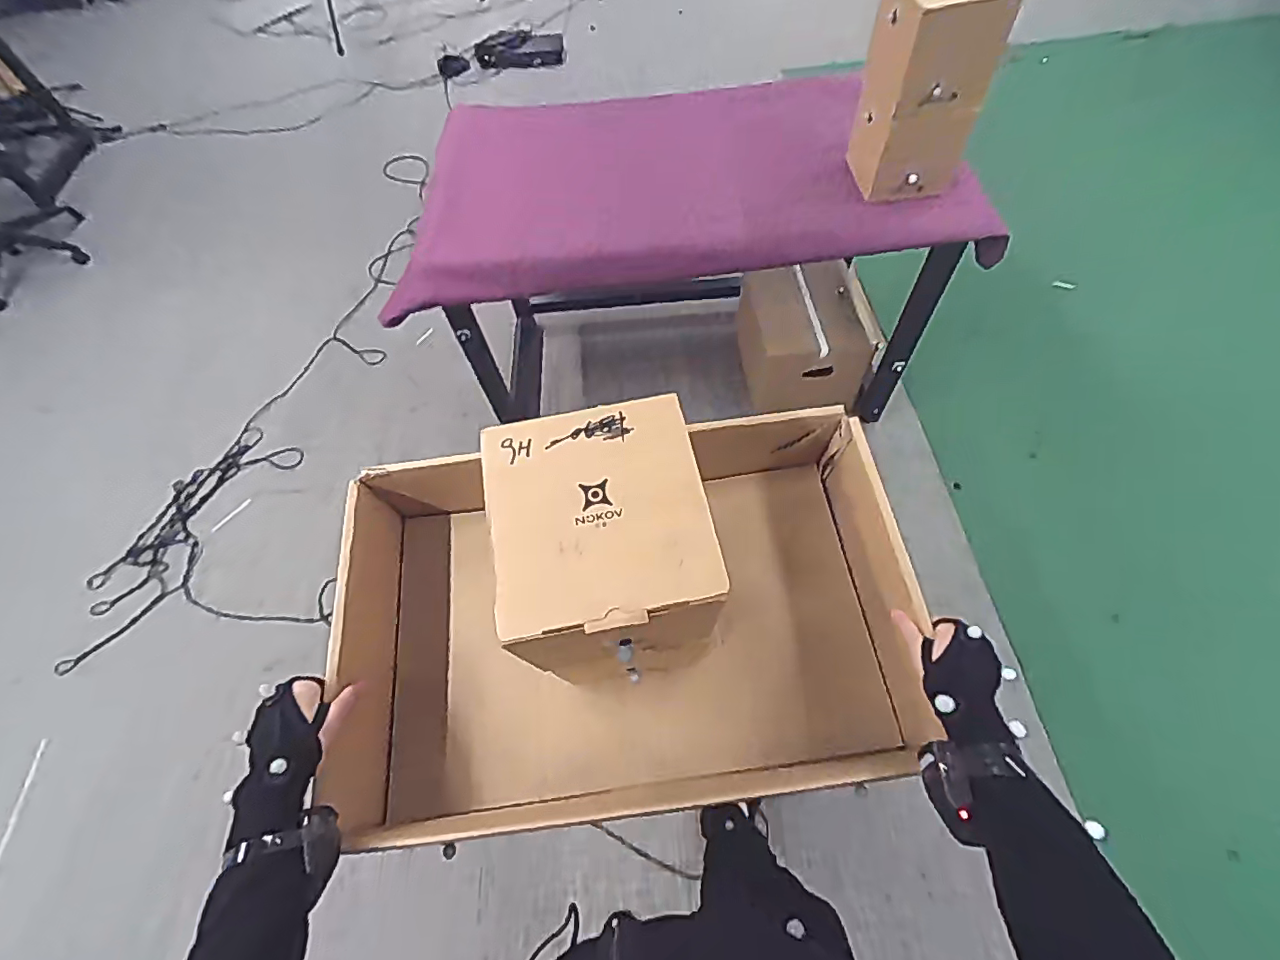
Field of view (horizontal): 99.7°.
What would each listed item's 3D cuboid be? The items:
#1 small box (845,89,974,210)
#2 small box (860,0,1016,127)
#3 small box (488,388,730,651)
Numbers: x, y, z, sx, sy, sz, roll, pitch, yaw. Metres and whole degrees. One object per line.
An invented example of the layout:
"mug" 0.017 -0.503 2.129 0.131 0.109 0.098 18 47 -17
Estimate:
"small box" 0.537 -0.688 1.111 0.168 0.176 0.179 -6 59 3
"small box" 0.518 -0.773 0.973 0.168 0.176 0.179 -8 58 2
"small box" -0.027 0.048 0.482 0.168 0.176 0.179 -10 64 -3
